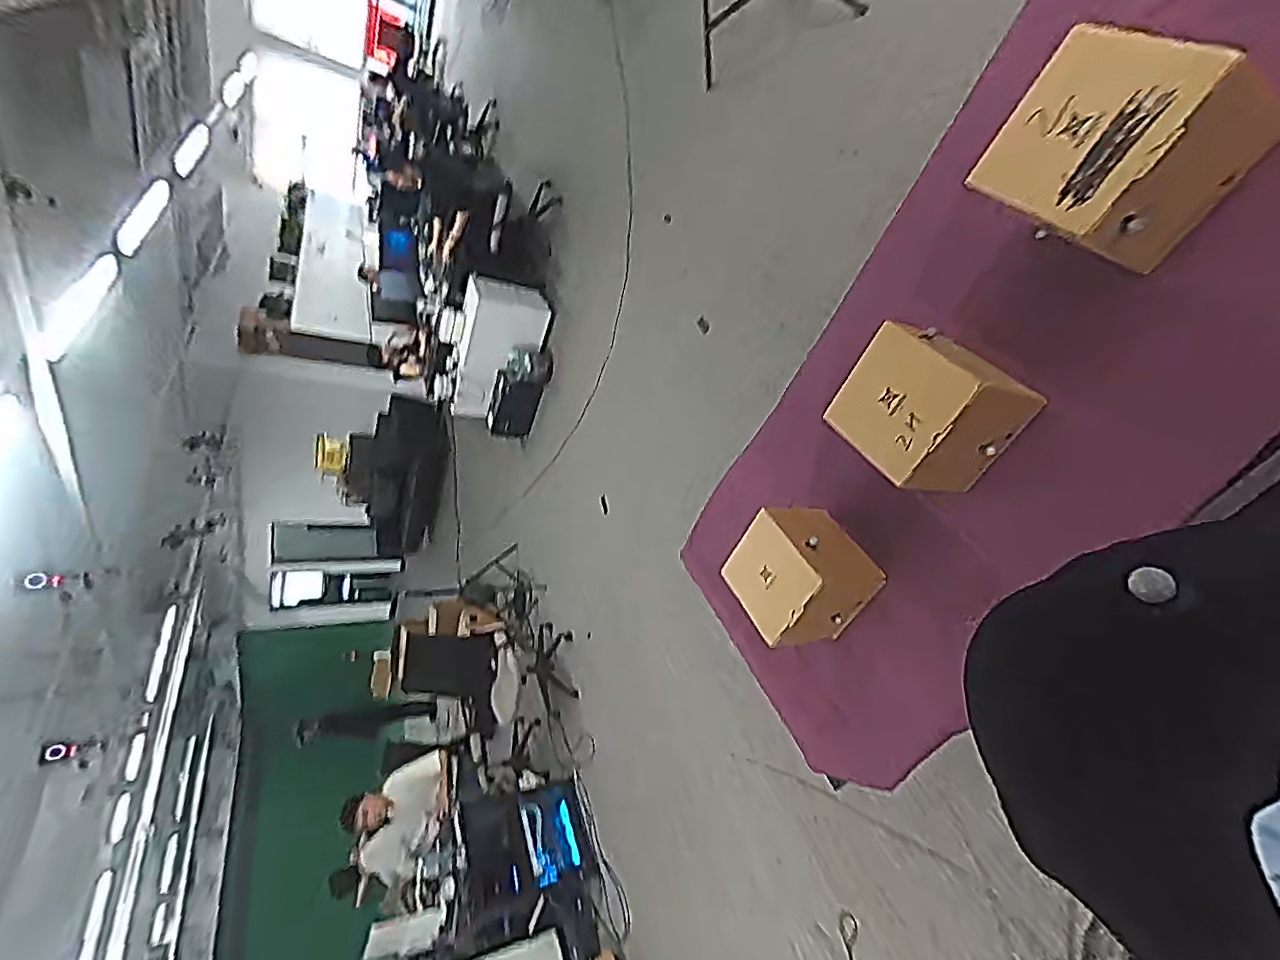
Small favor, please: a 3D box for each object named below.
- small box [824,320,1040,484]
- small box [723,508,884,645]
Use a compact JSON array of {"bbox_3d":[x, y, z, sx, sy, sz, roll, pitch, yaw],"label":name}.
[{"bbox_3d":[0.413,-0.104,0.780,0.179,0.176,0.168,59,136,42],"label":"small box"},{"bbox_3d":[0.287,0.169,0.967,0.179,0.176,0.168,58,133,42],"label":"small box"}]
